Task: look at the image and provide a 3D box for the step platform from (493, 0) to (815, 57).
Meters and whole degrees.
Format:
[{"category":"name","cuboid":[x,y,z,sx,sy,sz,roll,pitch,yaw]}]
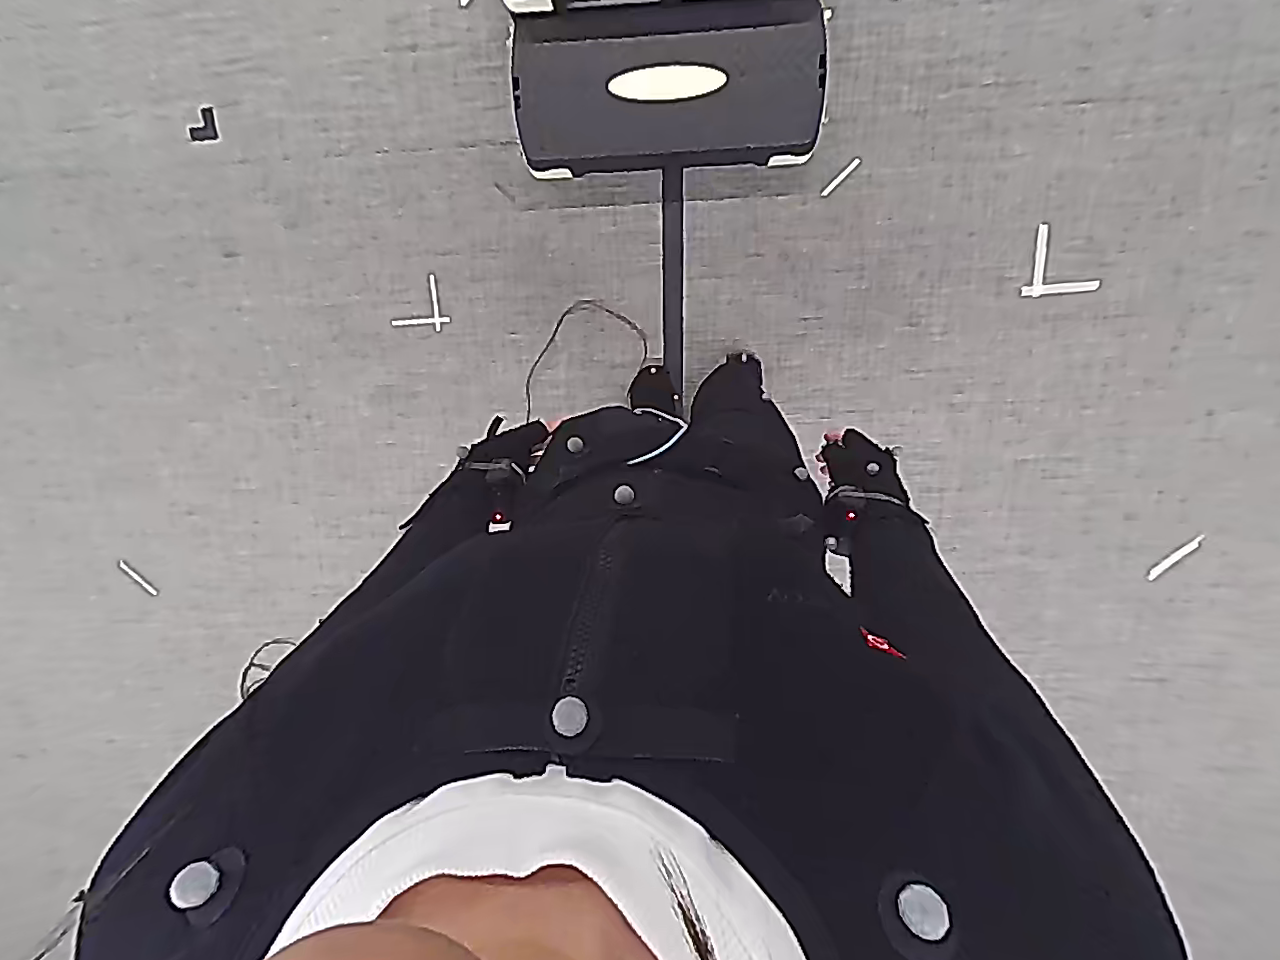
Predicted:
[{"category":"step platform","cuboid":[0.027,-1.085,1.084,0.684,0.204,0.286,-3,105,3]}]
